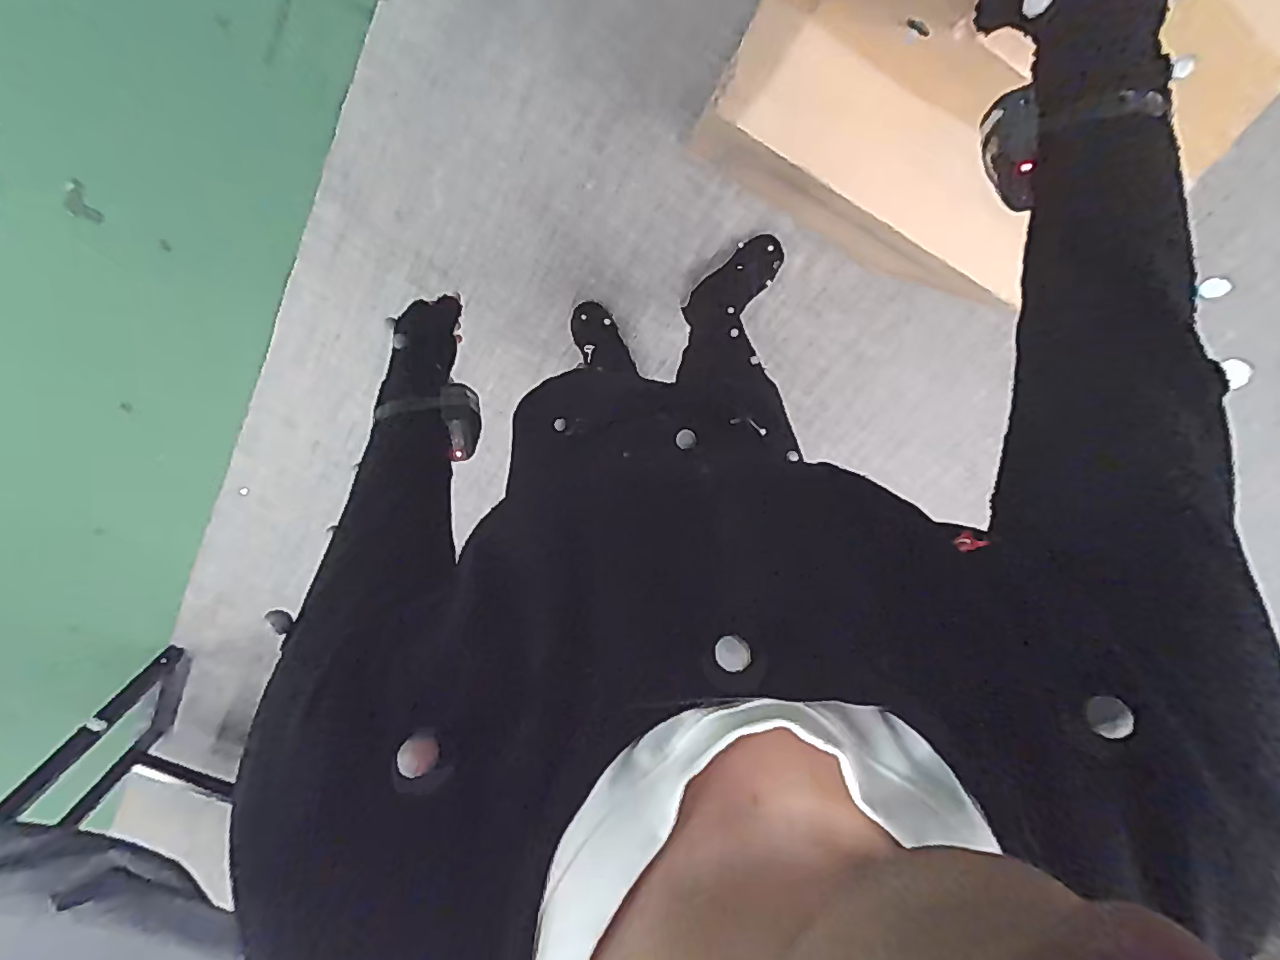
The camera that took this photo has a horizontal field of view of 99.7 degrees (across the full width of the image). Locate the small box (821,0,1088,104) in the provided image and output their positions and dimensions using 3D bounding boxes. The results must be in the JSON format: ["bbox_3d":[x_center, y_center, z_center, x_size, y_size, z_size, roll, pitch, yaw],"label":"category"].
[{"bbox_3d":[0.292,-0.471,0.480,0.179,0.176,0.168,25,115,-12],"label":"small box"}]
